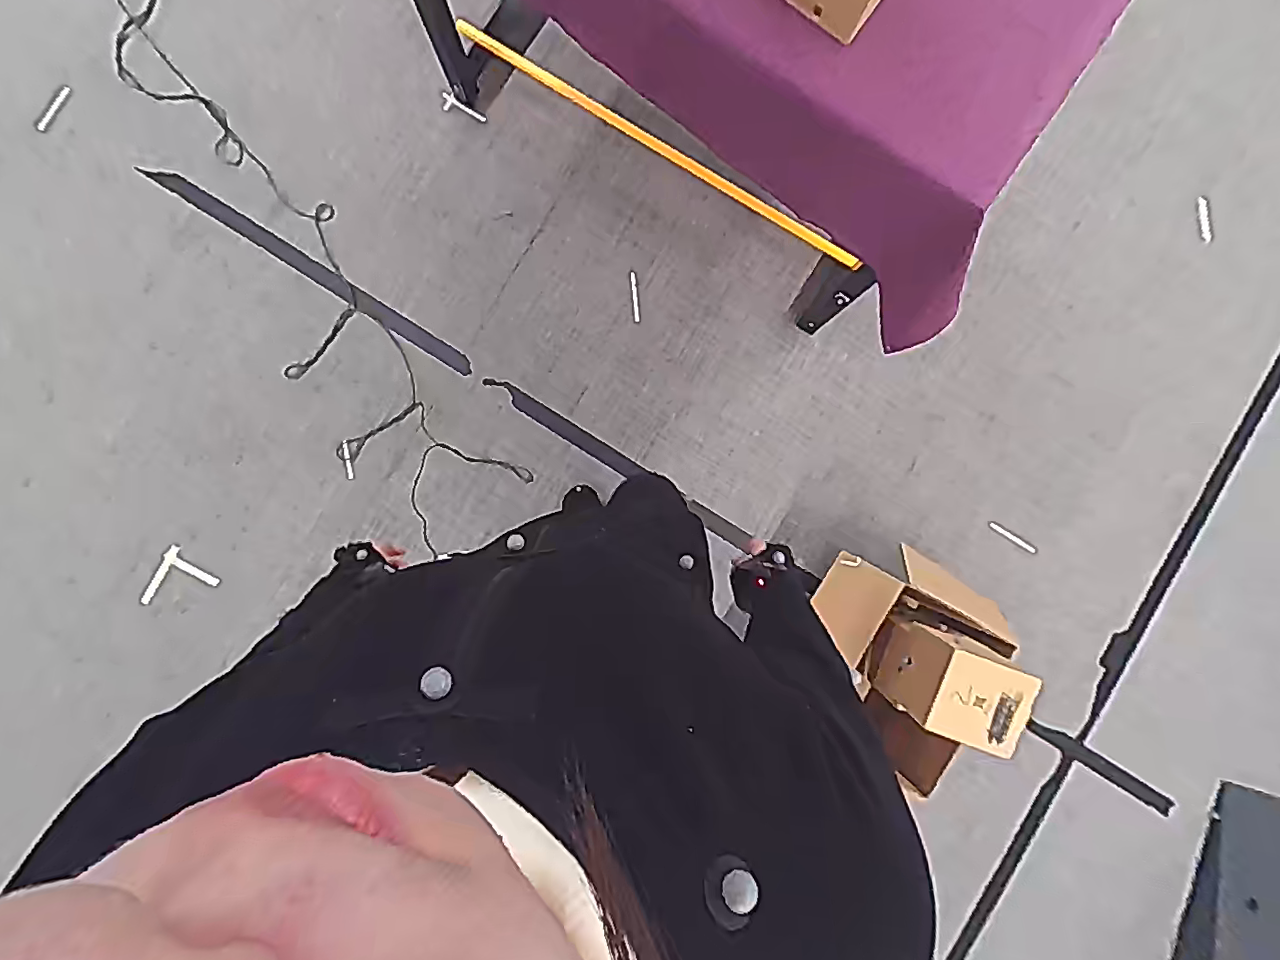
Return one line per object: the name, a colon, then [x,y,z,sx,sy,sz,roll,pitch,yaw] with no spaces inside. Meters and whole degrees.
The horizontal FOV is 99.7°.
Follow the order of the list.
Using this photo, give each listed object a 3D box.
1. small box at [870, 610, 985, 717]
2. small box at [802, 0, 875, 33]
small box: [0.658,0.416,1.259,0.168,0.176,0.179,10,93,0]
small box: [0.284,-0.751,0.702,0.168,0.176,0.179,35,87,-2]
